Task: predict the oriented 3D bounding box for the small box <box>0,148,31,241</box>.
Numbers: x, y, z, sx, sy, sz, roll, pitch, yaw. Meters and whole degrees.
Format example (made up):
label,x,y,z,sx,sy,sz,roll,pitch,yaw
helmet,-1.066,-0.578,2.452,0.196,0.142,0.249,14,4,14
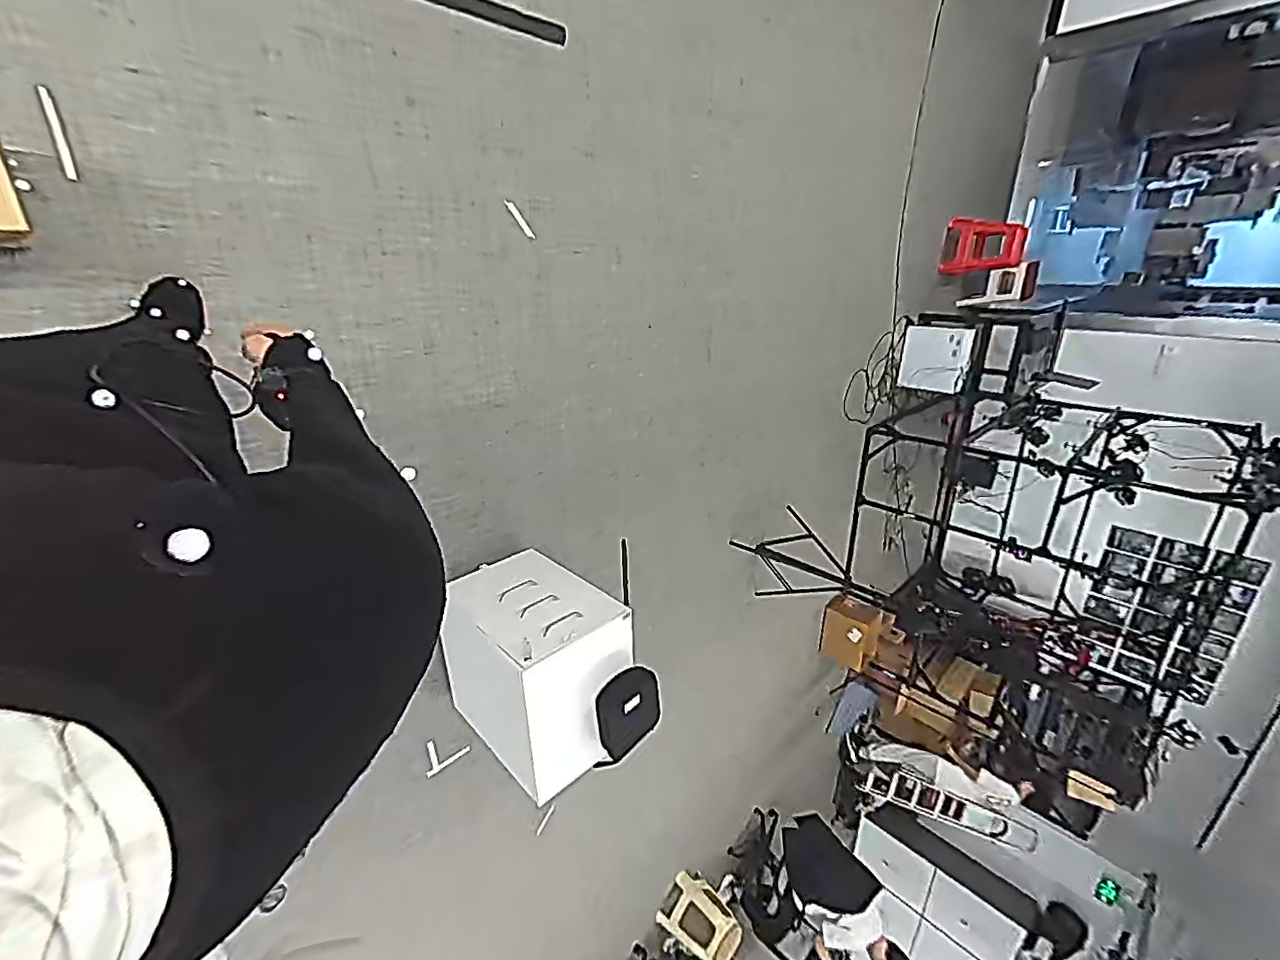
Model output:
label,x,y,z,sx,sy,sz,roll,pitch,yaw
small box,-1.045,-0.444,0.787,0.179,0.176,0.168,-21,119,-42
